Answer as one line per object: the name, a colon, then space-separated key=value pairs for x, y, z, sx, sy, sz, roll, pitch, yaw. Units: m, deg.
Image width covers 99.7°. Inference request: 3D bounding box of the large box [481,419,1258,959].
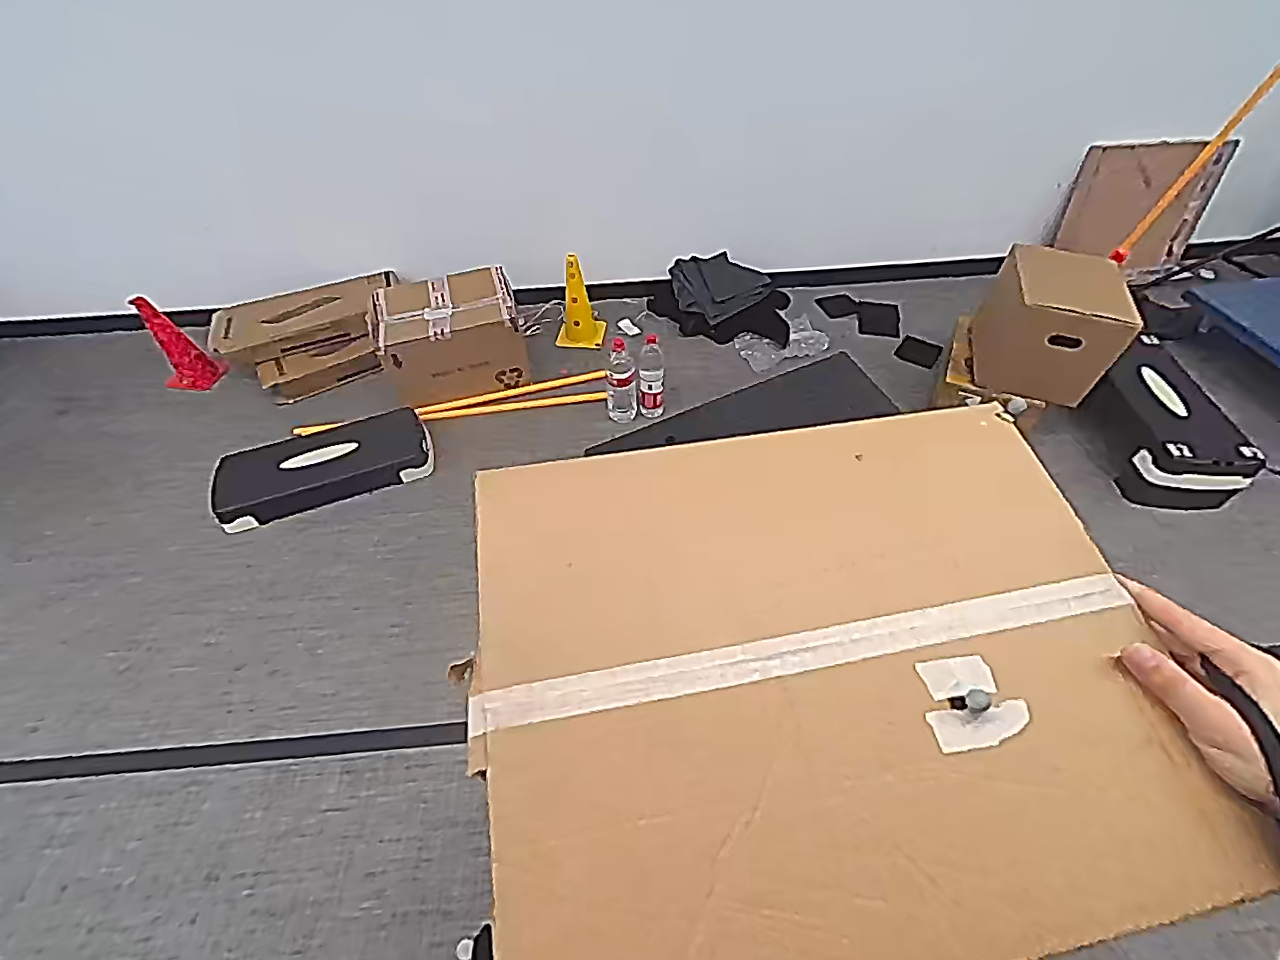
large box: x=0.103 y=0.184 z=0.462 sx=0.408 sy=0.320 sz=0.320 roll=-8 pitch=61 yaw=-8
